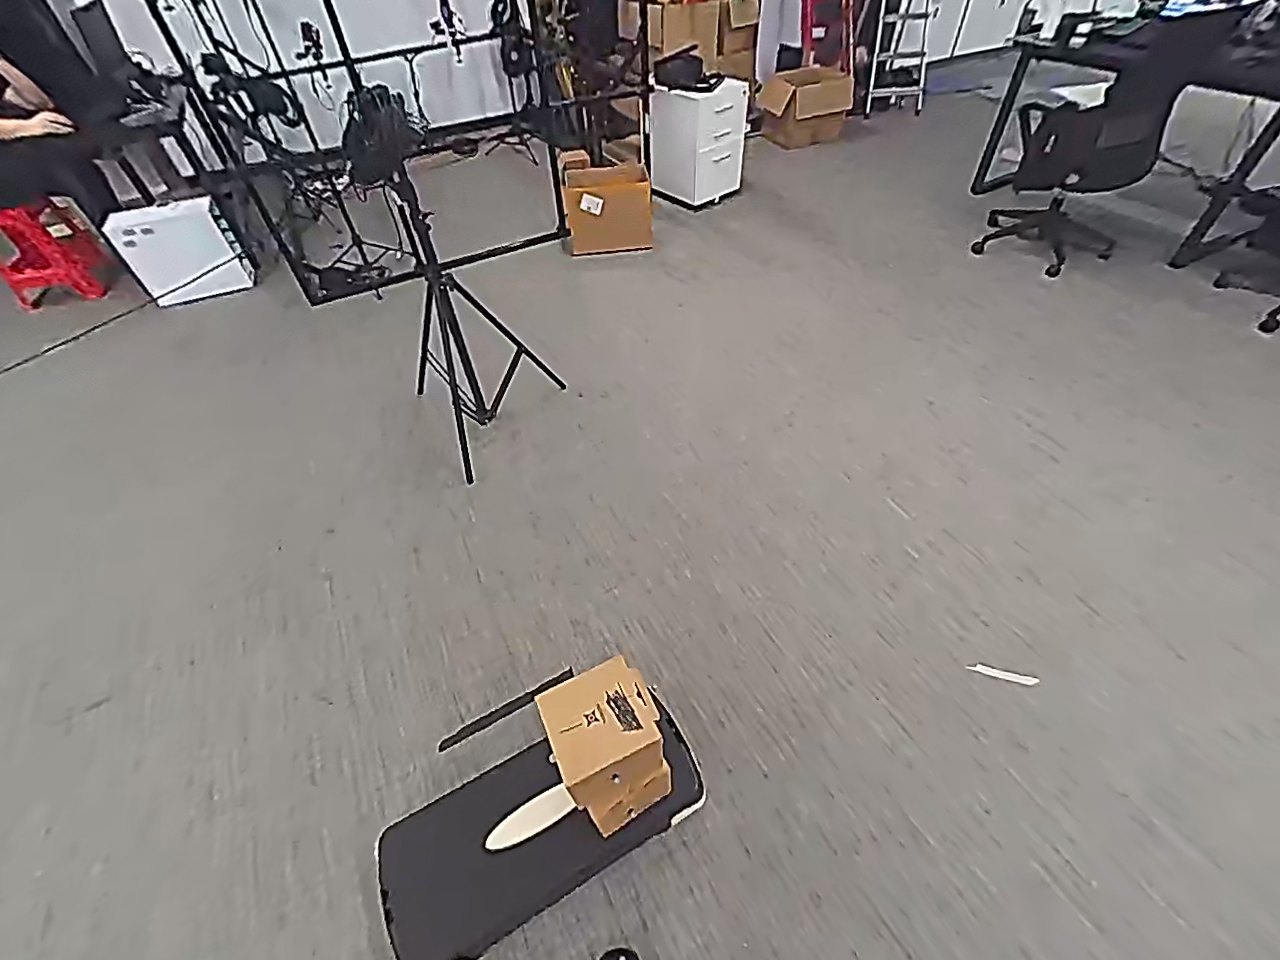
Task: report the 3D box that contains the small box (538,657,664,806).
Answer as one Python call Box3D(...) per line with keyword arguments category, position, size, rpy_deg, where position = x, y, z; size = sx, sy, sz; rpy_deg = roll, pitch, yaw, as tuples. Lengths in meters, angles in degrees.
Box3D(category="small box", position=(-0.069, 0.462, 0.992), size=(0.179, 0.176, 0.168), rpy_deg=(-22, 51, -14))

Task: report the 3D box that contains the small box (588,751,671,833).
Box3D(category="small box", position=(-0.051, 0.580, 1.106), size=(0.168, 0.176, 0.179), rpy_deg=(-26, 52, -19))
